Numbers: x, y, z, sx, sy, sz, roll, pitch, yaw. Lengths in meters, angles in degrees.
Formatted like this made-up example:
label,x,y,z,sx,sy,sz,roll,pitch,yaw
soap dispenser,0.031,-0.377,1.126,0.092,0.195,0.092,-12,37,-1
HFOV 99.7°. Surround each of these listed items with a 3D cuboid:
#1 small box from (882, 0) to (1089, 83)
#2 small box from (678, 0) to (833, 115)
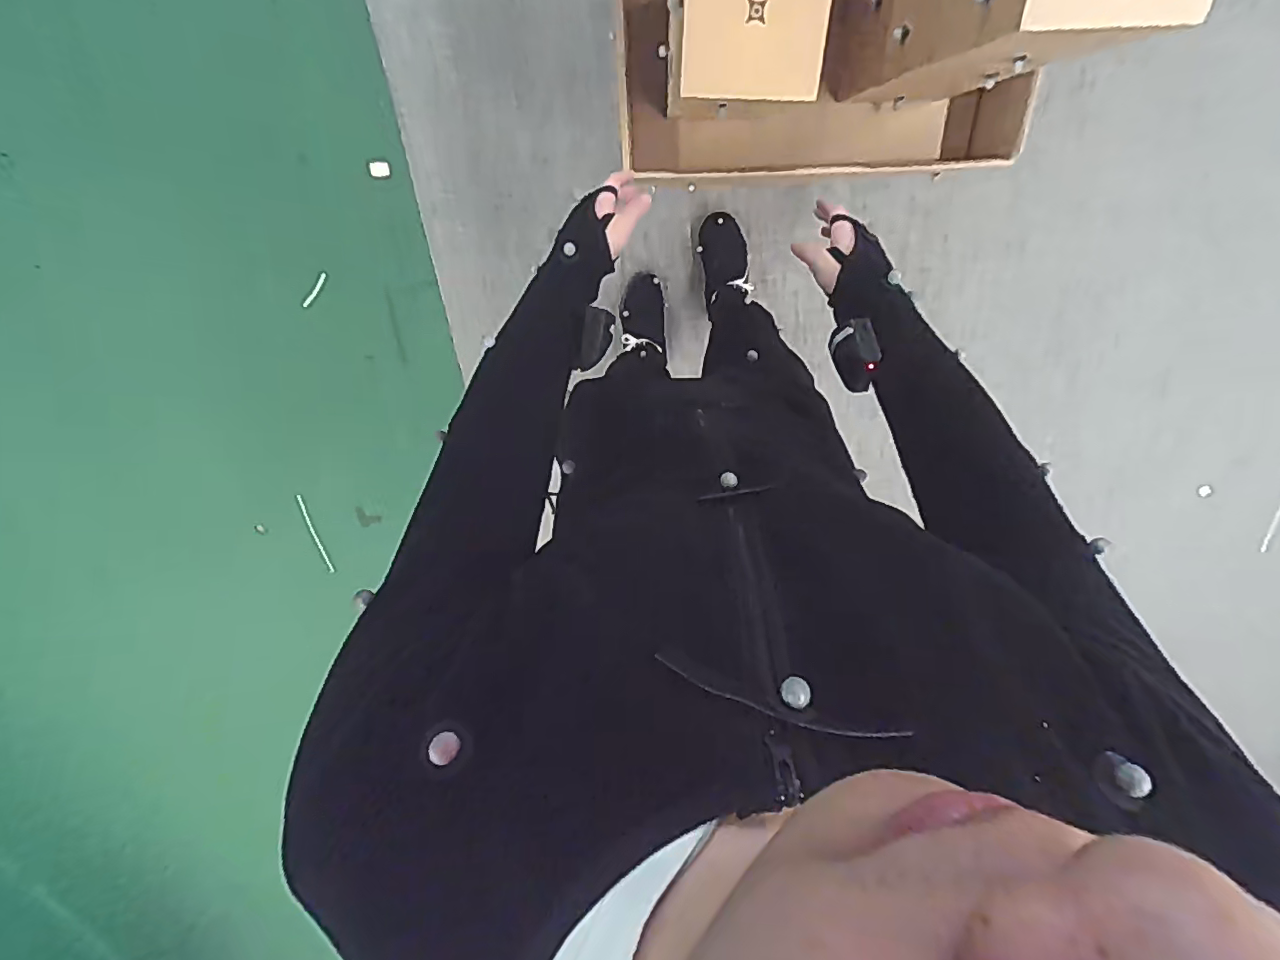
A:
label,x,y,z,sx,sy,sz,roll,pitch,yaw
small box,0.412,-0.595,0.650,0.168,0.176,0.179,-1,118,1
small box,0.135,-0.567,0.672,0.168,0.176,0.179,2,117,0
